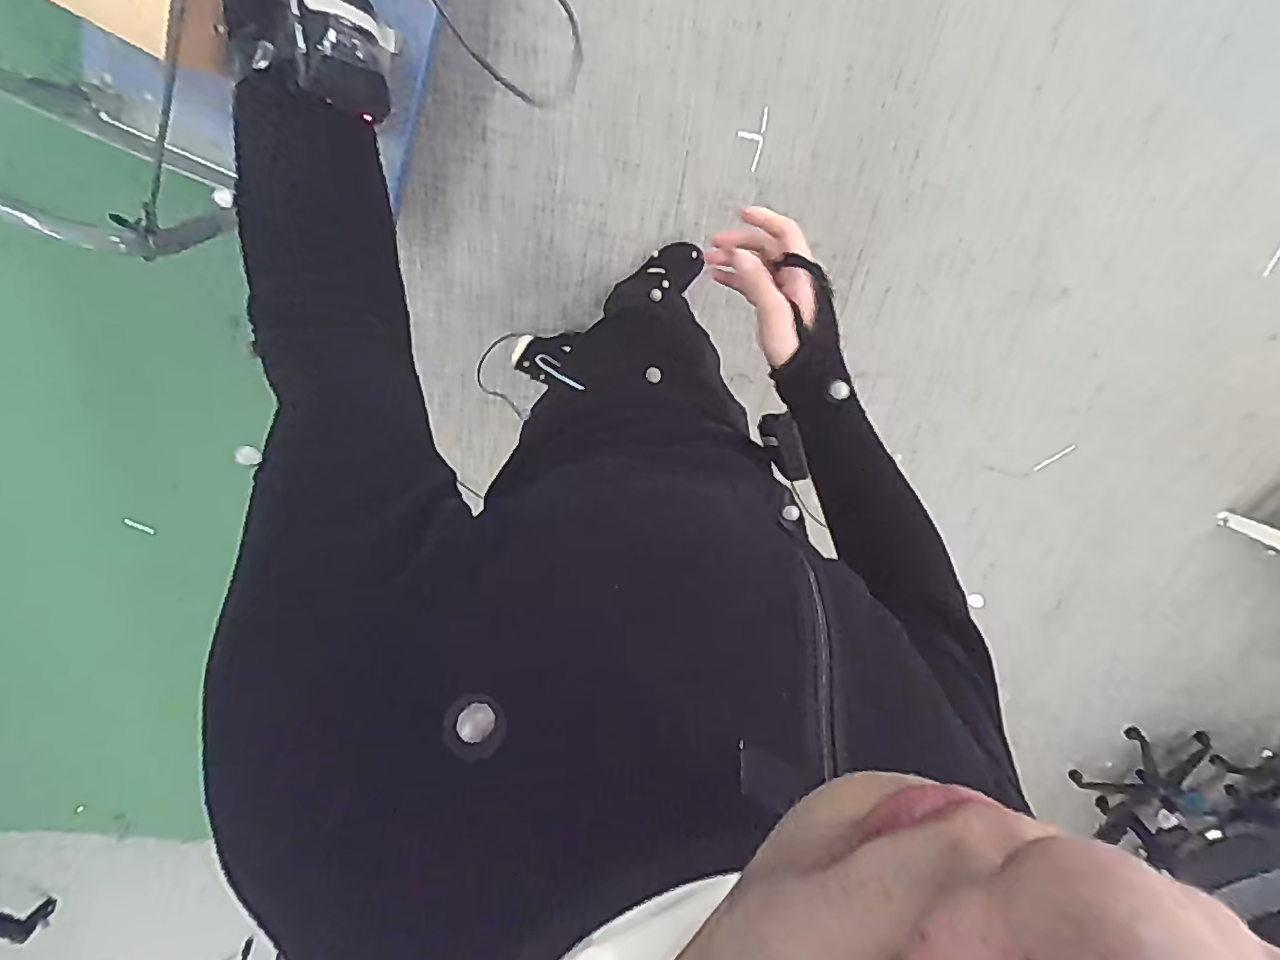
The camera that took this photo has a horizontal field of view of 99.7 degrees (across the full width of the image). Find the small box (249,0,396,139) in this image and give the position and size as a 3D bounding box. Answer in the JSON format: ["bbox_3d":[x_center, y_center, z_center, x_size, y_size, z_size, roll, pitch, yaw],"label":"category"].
[{"bbox_3d":[-0.561,-0.749,0.974,0.168,0.176,0.179,21,116,-15],"label":"small box"}]
